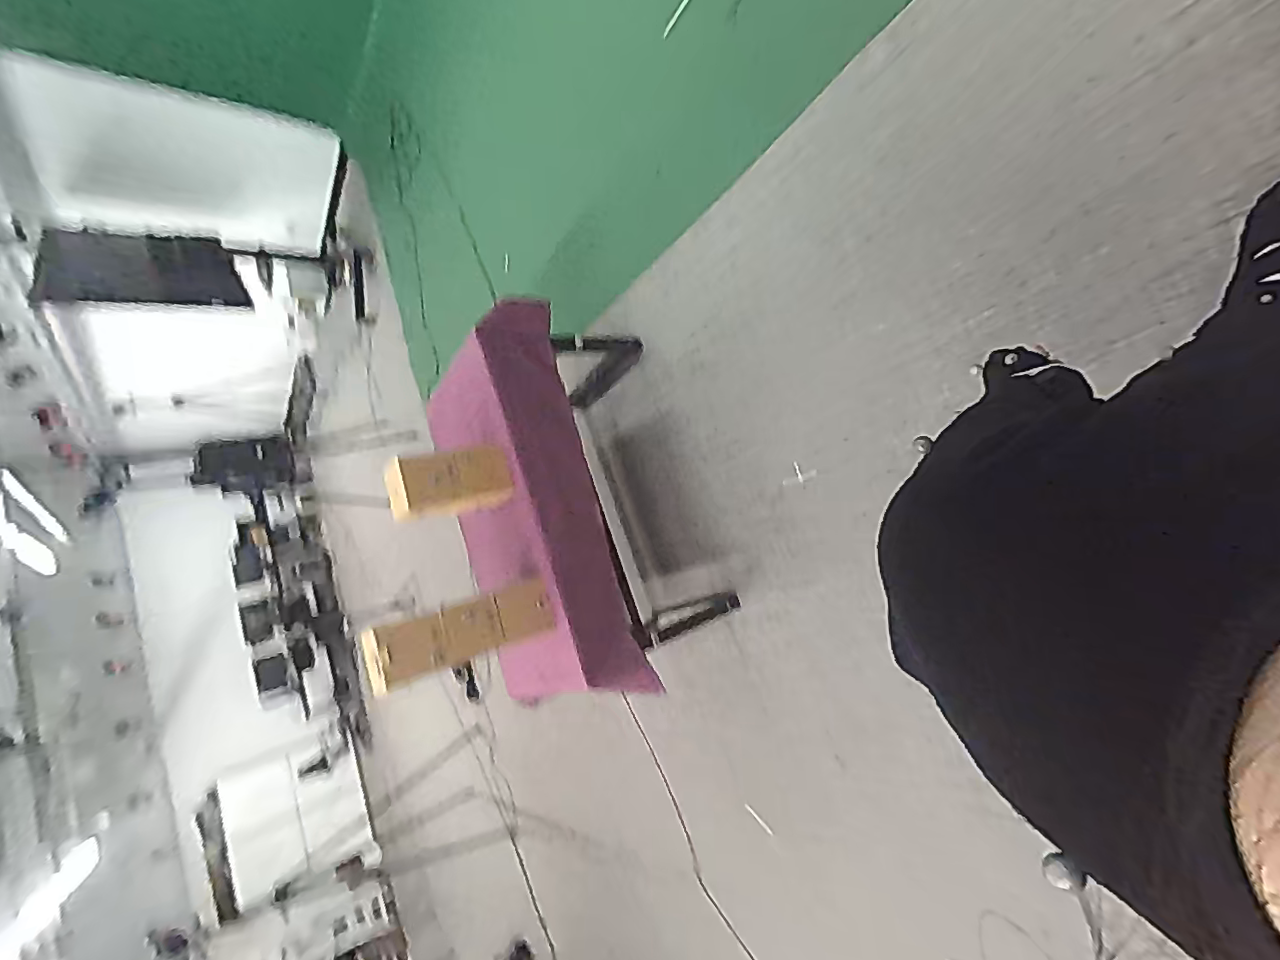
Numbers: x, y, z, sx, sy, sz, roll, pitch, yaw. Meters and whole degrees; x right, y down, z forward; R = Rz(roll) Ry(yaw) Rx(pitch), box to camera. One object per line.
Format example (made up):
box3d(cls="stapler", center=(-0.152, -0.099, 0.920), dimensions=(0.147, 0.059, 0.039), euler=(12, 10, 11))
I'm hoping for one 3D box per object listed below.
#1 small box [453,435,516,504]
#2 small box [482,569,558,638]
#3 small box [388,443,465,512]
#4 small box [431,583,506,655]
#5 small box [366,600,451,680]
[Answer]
box3d(cls="small box", center=(-0.526, -0.036, 1.773), dimensions=(0.168, 0.176, 0.179), euler=(-27, 77, 50))
box3d(cls="small box", center=(-0.383, 0.386, 1.698), dimensions=(0.168, 0.176, 0.179), euler=(-28, 76, 50))
box3d(cls="small box", center=(-0.655, -0.010, 1.674), dimensions=(0.179, 0.176, 0.168), euler=(-24, 80, 51))
box3d(cls="small box", center=(-0.511, 0.411, 1.599), dimensions=(0.179, 0.176, 0.168), euler=(-26, 78, 51))
box3d(cls="small box", center=(-0.638, 0.442, 1.499), dimensions=(0.179, 0.176, 0.168), euler=(-31, 74, 50))
